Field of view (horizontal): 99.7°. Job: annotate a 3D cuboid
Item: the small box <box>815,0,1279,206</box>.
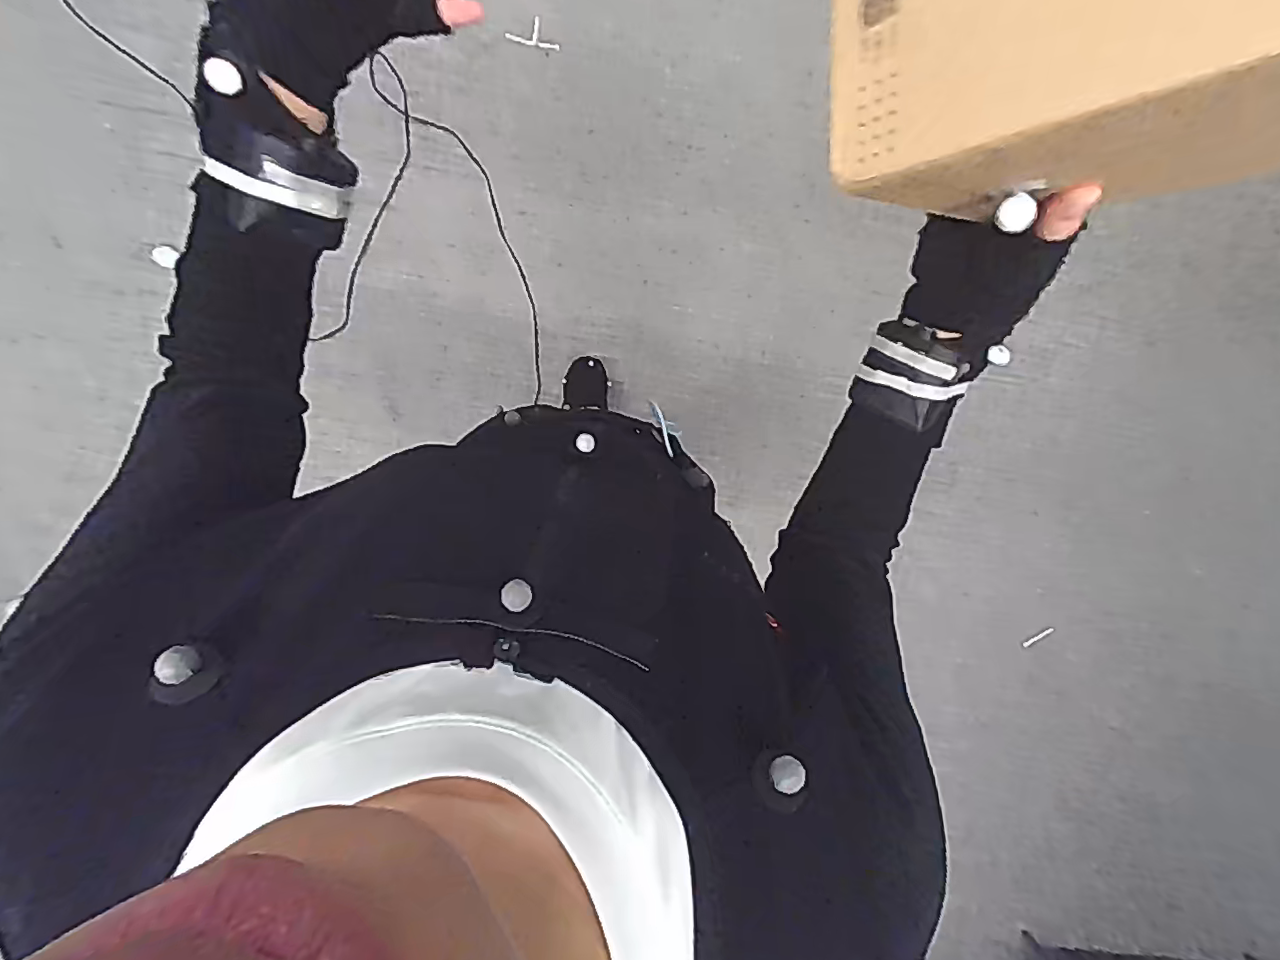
[{"bbox_3d":[0.186,-0.211,0.196,0.179,0.176,0.168,-15,107,-36],"label":"small box"}]
